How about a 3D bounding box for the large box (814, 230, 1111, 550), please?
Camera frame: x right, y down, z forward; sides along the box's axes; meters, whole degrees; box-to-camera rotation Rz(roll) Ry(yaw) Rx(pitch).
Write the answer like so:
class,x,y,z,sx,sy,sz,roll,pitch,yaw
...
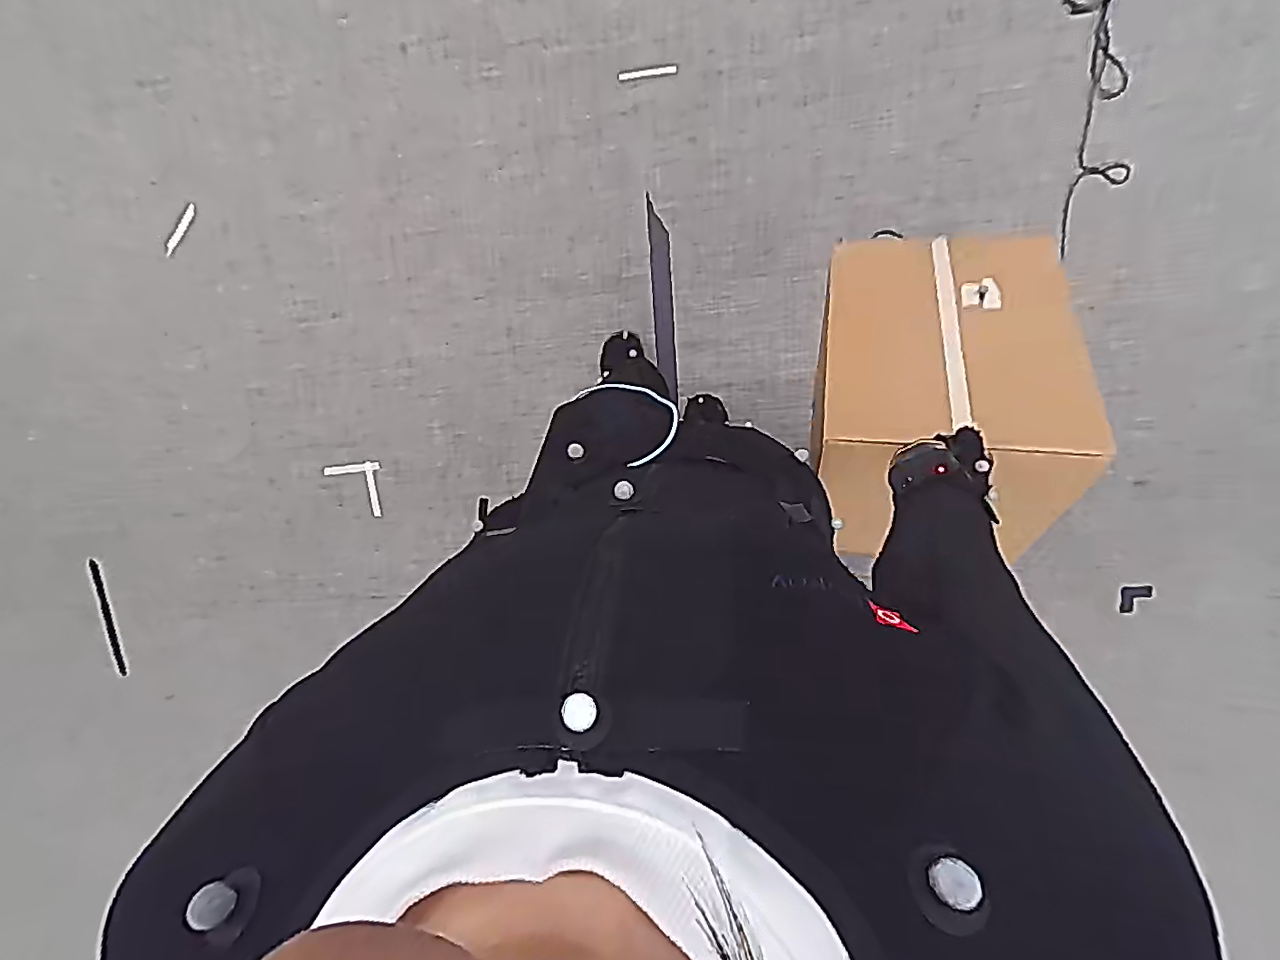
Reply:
class,x,y,z,sx,sy,sz,roll,pitch,yaw
large box,0.454,-0.138,0.873,0.320,0.320,0.408,5,59,14
